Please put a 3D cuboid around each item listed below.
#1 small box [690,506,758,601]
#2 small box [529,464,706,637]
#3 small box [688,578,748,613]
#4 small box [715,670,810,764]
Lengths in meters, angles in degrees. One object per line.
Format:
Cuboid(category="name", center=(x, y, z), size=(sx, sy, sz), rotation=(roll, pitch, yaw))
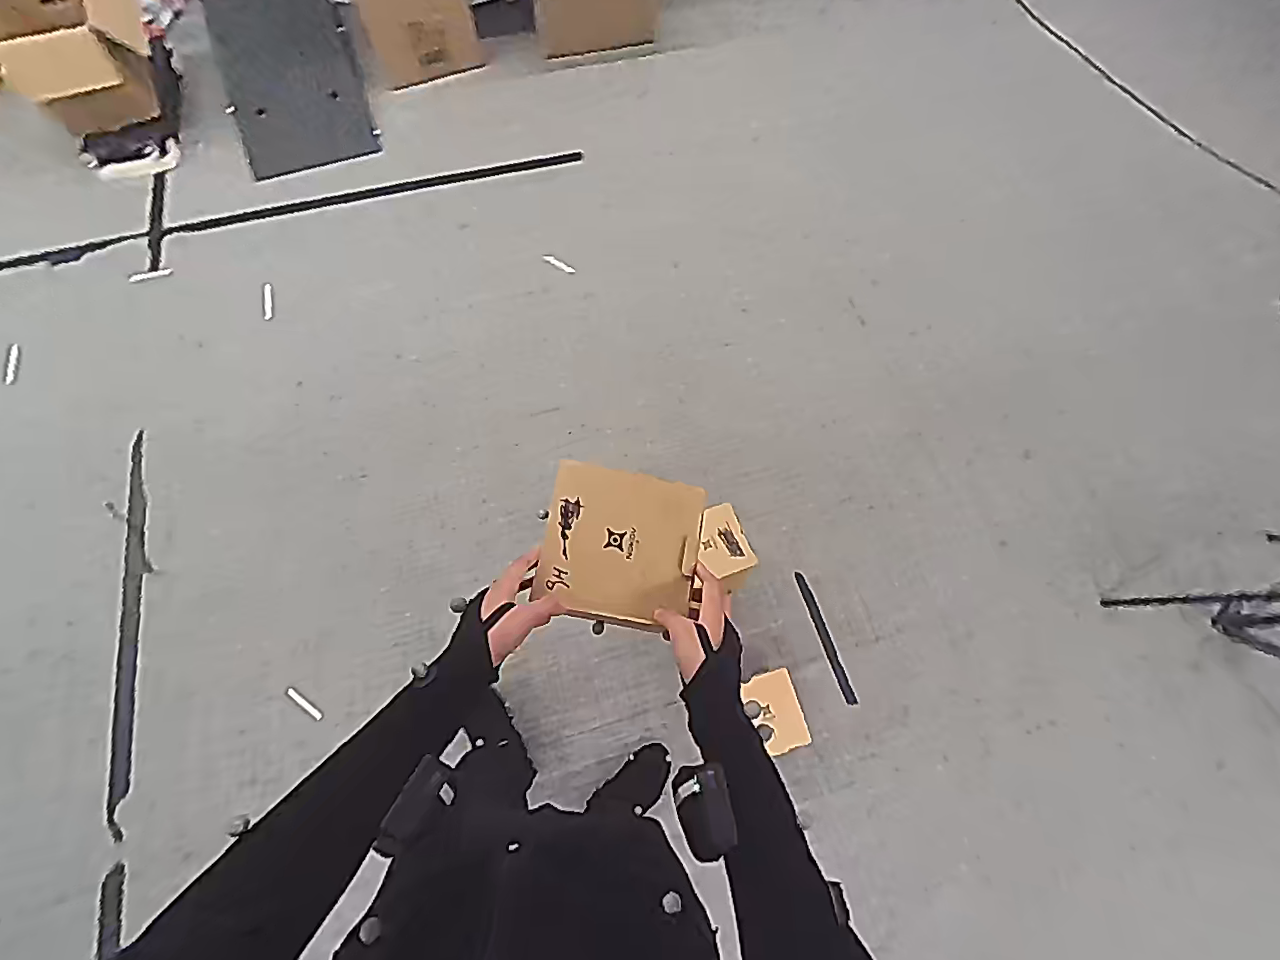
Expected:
Cuboid(category="small box", center=(0.166, 0.187, 1.337), size=(0.179, 0.176, 0.168), rotation=(-18, 69, -8))
Cuboid(category="small box", center=(-0.033, 0.097, 0.680), size=(0.179, 0.176, 0.168), rotation=(13, 72, -6))
Cuboid(category="small box", center=(0.170, 0.254, 1.486), size=(0.179, 0.176, 0.168), rotation=(-20, 69, -9))
Cuboid(category="small box", center=(0.296, 0.588, 1.354), size=(0.168, 0.176, 0.179), rotation=(-13, 70, -6))
